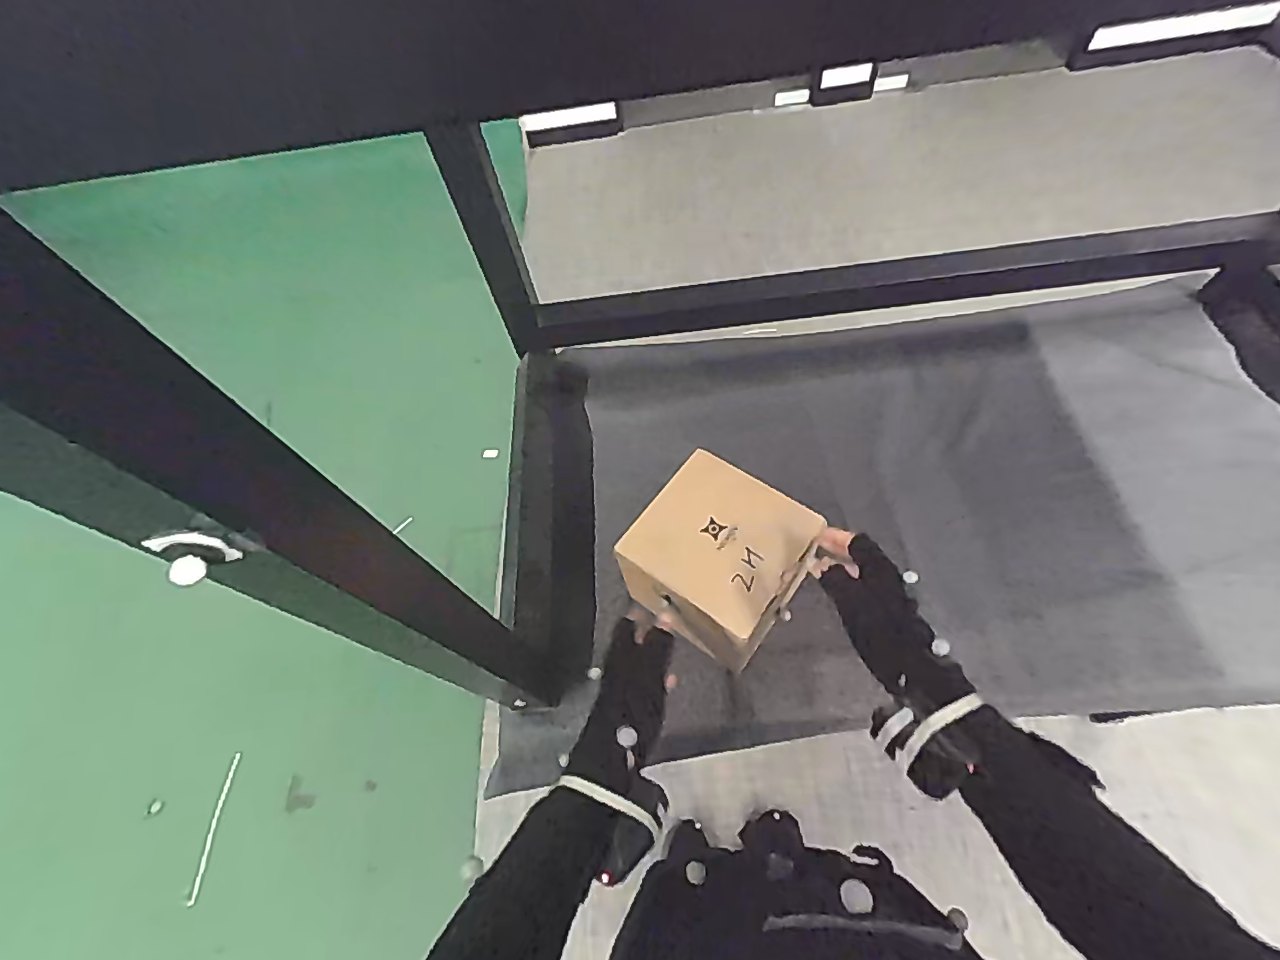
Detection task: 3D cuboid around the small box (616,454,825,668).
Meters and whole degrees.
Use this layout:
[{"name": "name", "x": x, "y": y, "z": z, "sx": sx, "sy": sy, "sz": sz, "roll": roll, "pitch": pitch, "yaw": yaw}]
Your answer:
[{"name": "small box", "x": 0.096, "y": 0.106, "z": 0.667, "sx": 0.179, "sy": 0.176, "sz": 0.168, "roll": 32, "pitch": 68, "yaw": 24}]
